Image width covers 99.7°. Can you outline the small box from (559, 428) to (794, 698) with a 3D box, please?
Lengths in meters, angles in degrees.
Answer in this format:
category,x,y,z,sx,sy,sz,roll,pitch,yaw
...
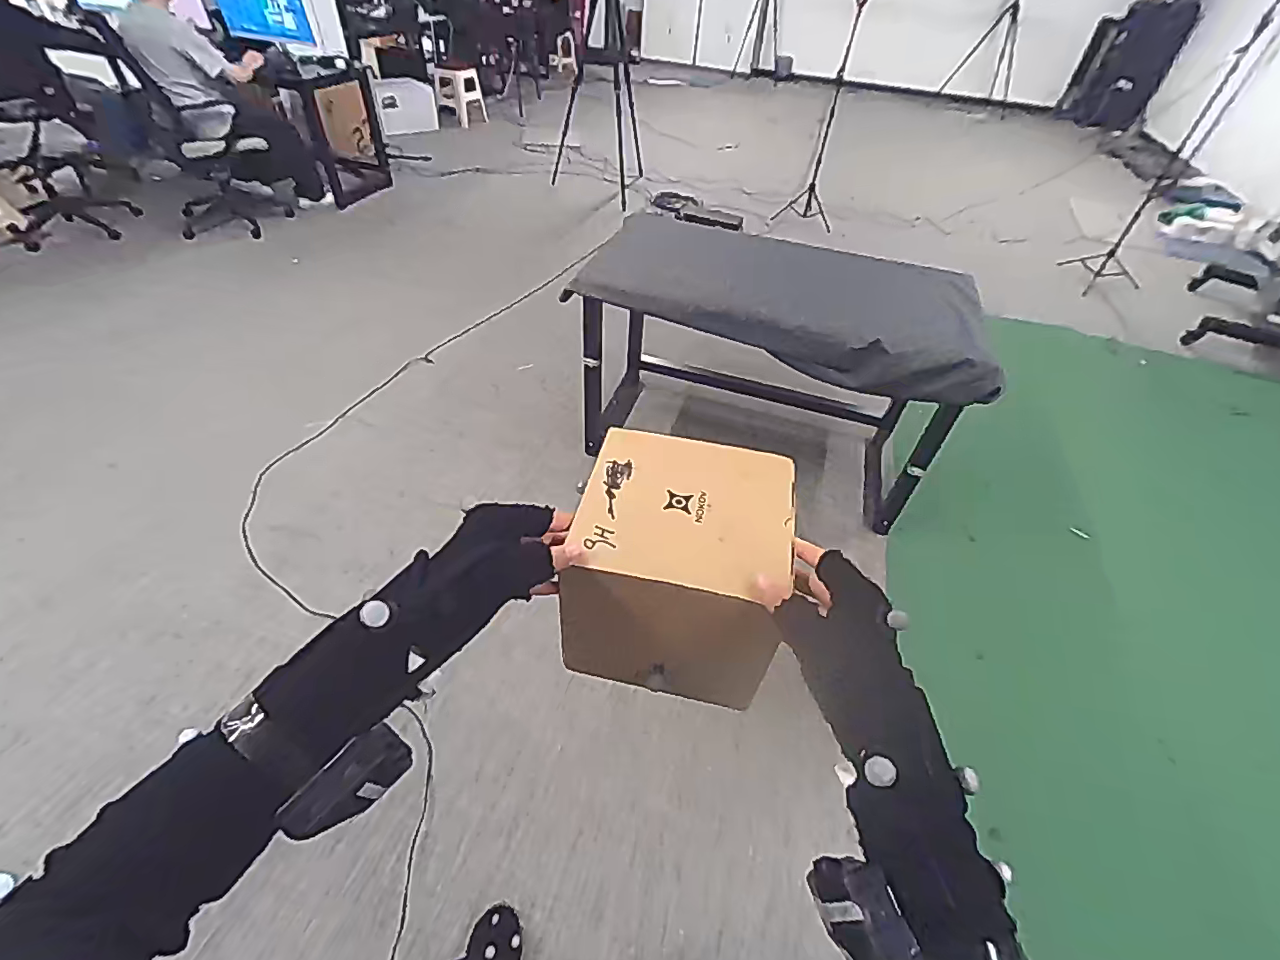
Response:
category,x,y,z,sx,sy,sz,roll,pitch,yaw
small box,0.033,0.080,0.506,0.179,0.176,0.168,12,44,5
